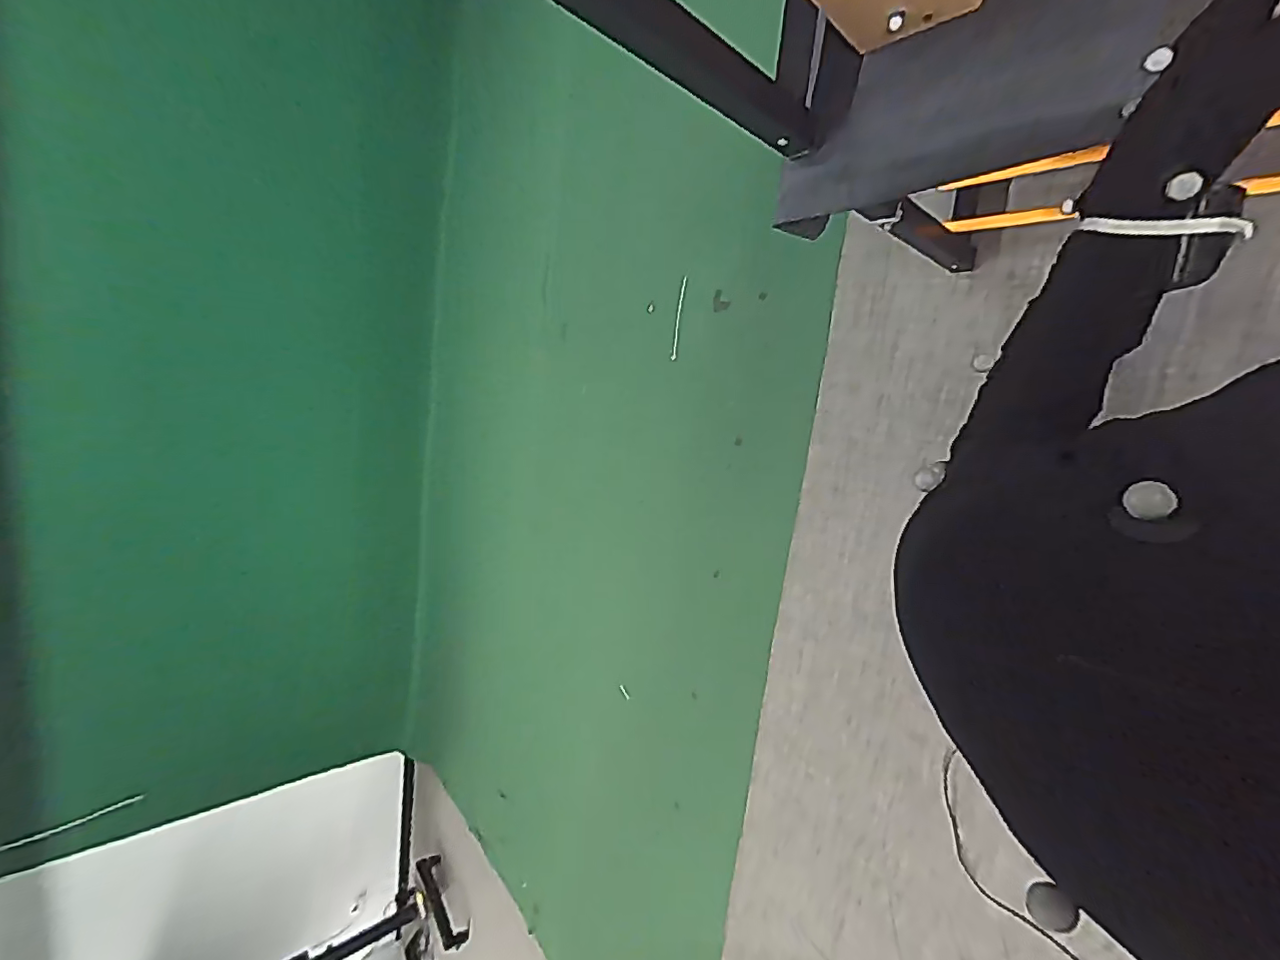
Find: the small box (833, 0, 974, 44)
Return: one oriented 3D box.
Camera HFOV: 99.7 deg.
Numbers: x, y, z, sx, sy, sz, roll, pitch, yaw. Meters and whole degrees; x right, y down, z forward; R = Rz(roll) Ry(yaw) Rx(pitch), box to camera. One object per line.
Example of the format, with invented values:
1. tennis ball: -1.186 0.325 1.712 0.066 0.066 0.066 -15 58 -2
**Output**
1. small box: 0.339 -0.718 0.688 0.168 0.176 0.179 16 103 47
